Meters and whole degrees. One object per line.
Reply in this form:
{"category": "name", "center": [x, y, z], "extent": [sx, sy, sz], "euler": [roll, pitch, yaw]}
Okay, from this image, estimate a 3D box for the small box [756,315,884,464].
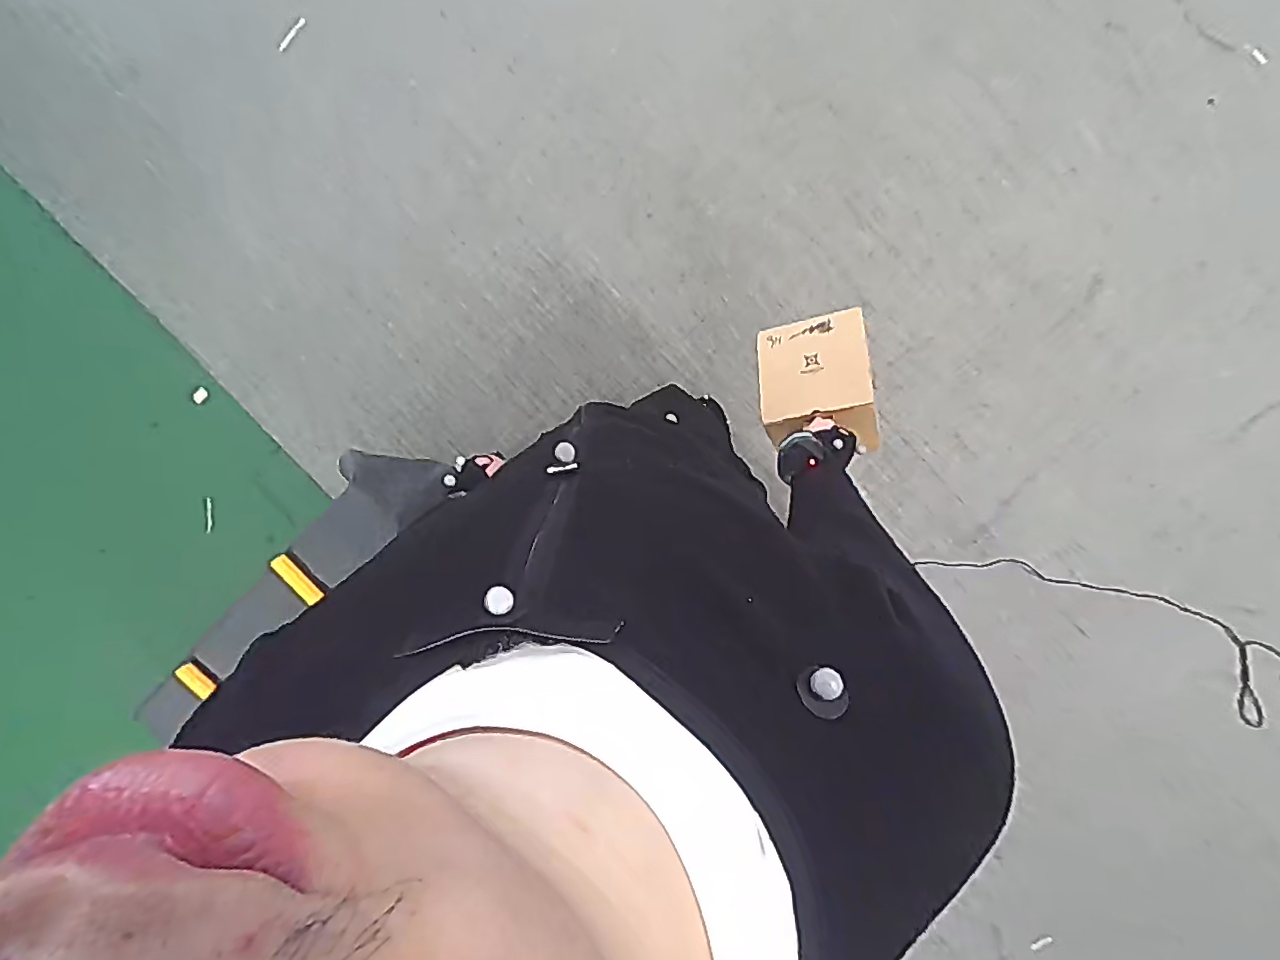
{"category": "small box", "center": [0.305, -0.138, 0.912], "extent": [0.168, 0.176, 0.179], "euler": [-11, 63, 25]}
